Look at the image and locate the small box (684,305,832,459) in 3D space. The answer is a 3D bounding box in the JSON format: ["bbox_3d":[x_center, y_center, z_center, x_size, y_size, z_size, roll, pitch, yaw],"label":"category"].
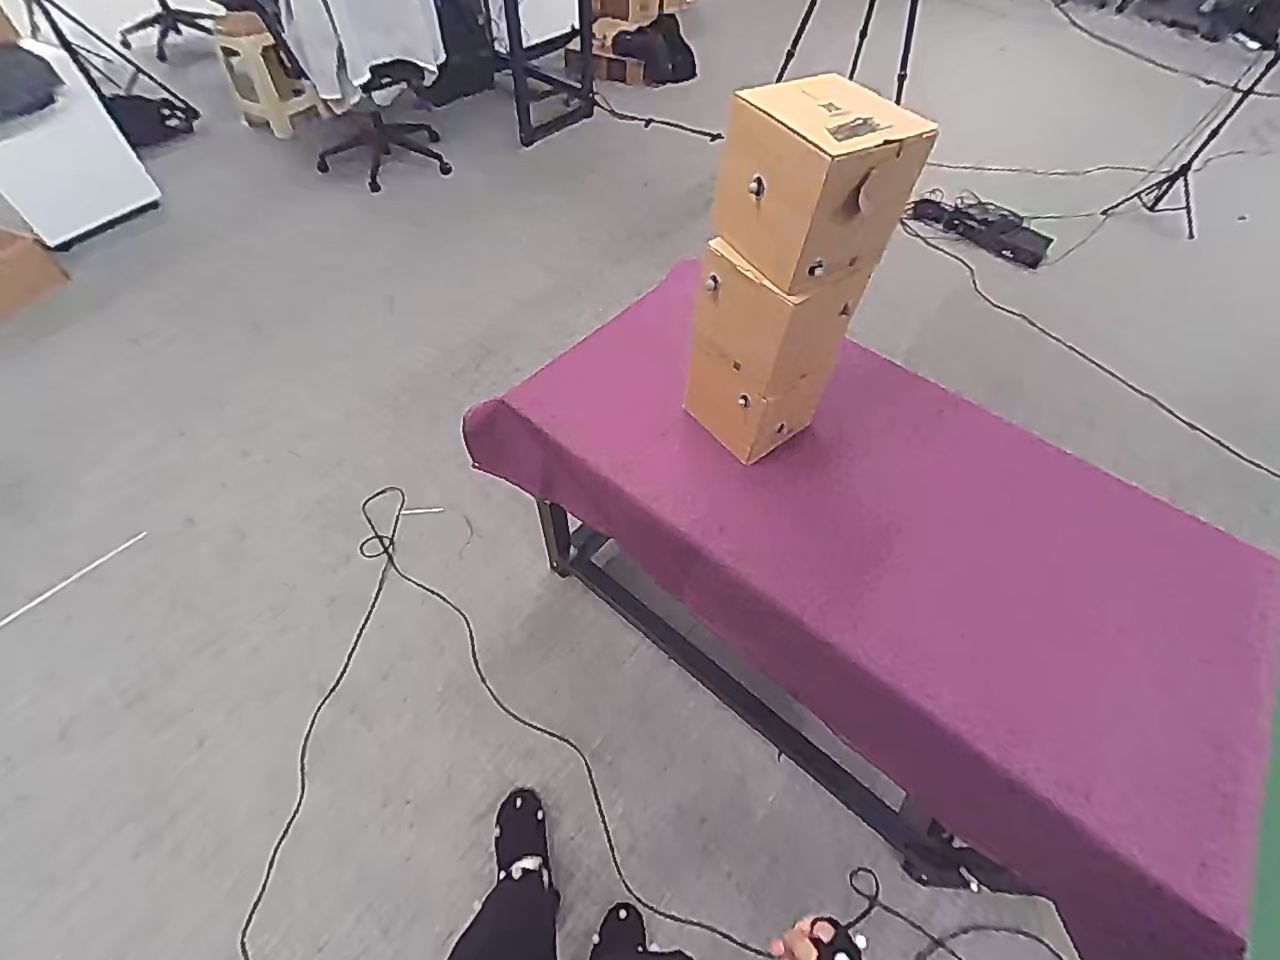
[{"bbox_3d":[0.195,-0.170,0.956,0.168,0.176,0.179,-32,63,-23],"label":"small box"}]

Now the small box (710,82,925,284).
[{"bbox_3d":[0.213,-0.376,0.699,0.168,0.176,0.179,-25,59,-20],"label":"small box"}]
